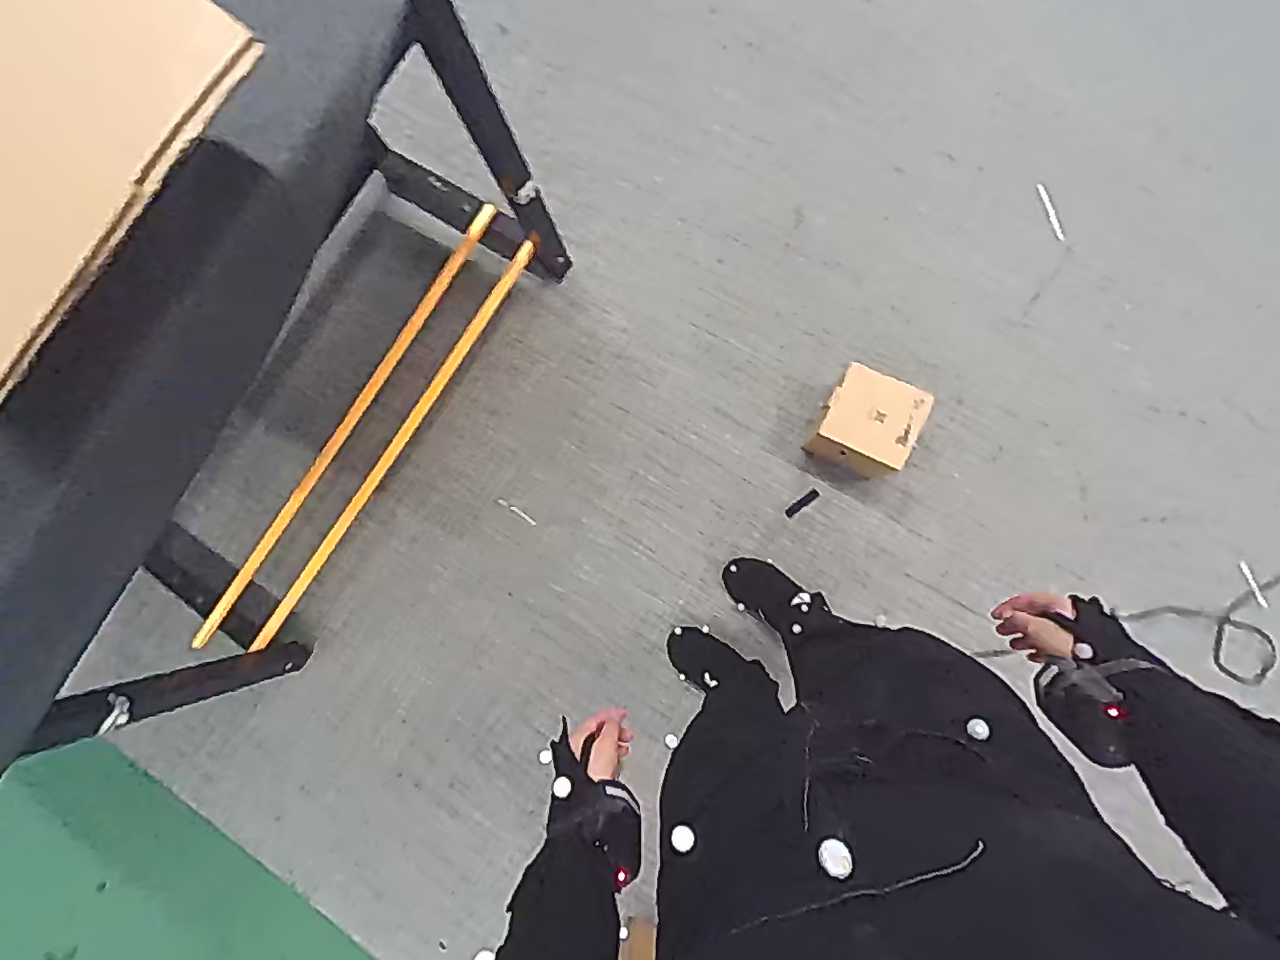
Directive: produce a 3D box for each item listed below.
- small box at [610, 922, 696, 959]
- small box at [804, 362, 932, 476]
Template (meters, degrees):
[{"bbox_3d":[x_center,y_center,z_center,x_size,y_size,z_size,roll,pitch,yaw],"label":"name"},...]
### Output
[{"bbox_3d":[0.014,1.023,1.055,0.179,0.176,0.168,34,88,8],"label":"small box"},{"bbox_3d":[0.468,-0.119,1.142,0.179,0.176,0.168,26,86,9],"label":"small box"}]
